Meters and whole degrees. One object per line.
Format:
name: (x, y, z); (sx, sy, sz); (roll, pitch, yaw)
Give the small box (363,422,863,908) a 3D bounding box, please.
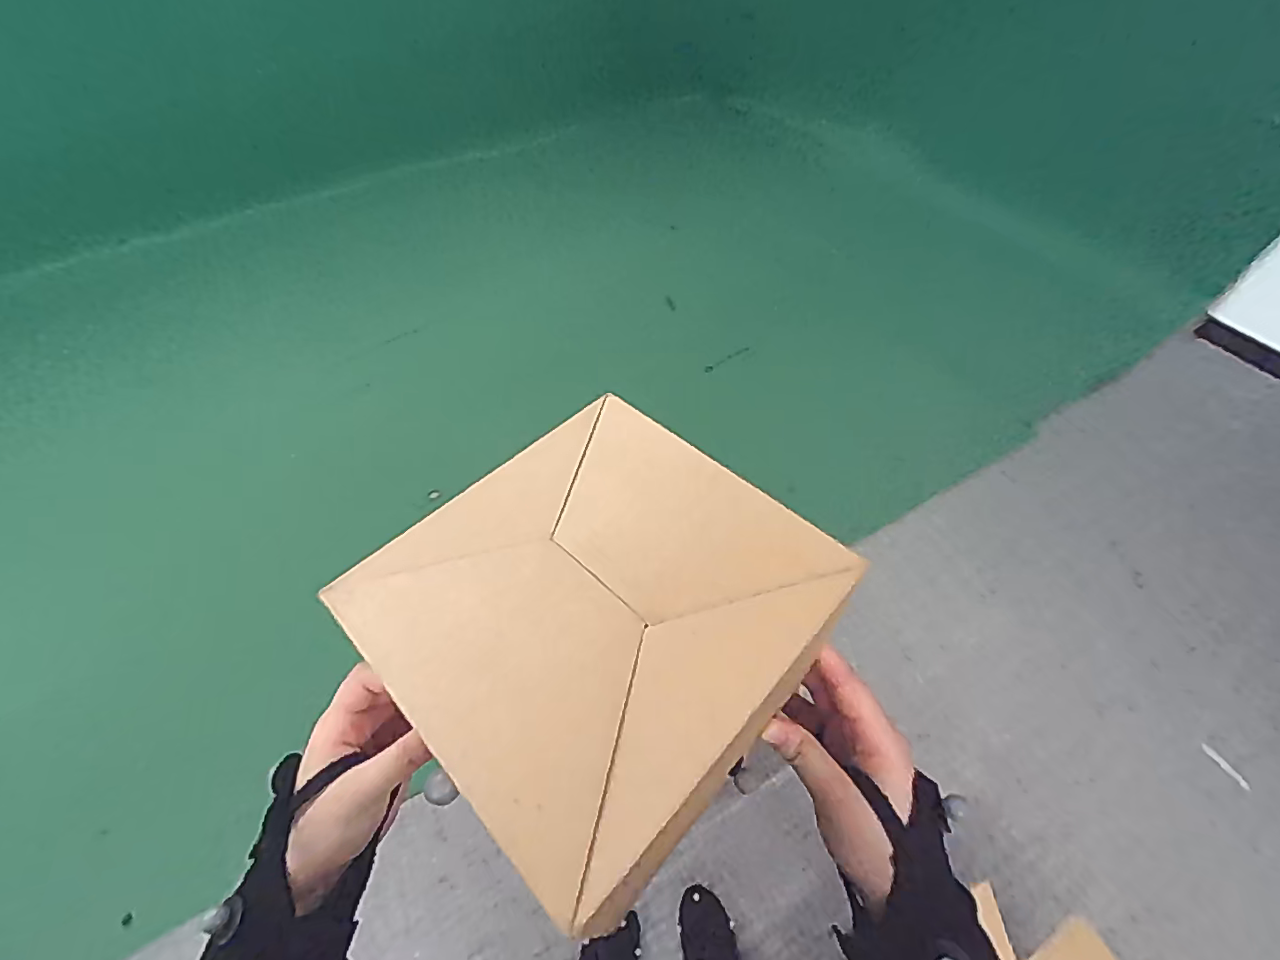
small box: (-0.008, 0.091, 0.299); (0.168, 0.176, 0.179); (35, 59, 26)
